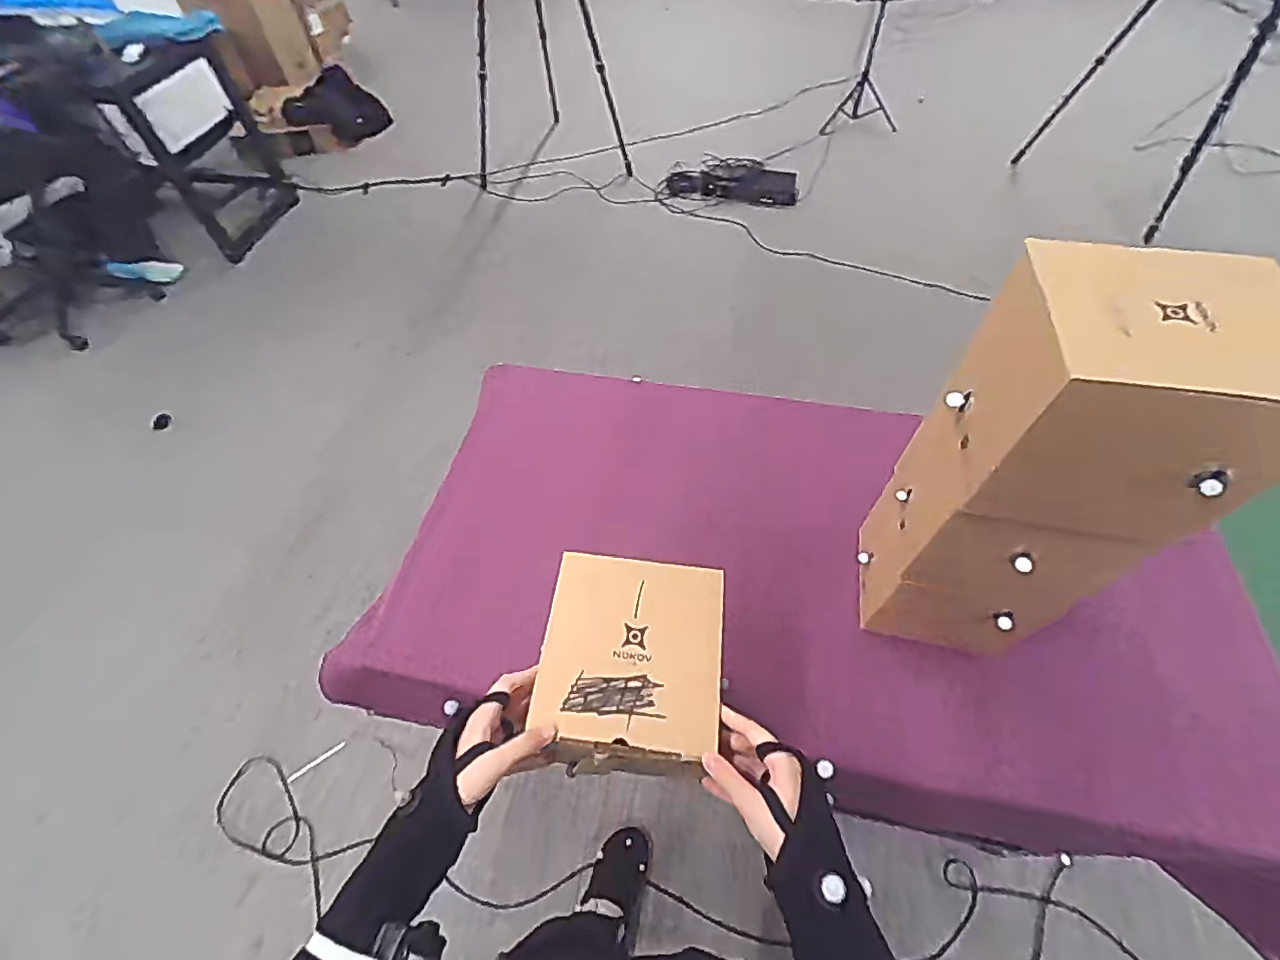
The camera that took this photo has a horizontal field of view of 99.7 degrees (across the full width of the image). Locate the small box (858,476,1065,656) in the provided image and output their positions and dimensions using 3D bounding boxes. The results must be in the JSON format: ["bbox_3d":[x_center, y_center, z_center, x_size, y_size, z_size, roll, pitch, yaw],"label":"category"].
[{"bbox_3d":[0.406,0.120,0.719,0.179,0.176,0.168,9,55,9],"label":"small box"}]

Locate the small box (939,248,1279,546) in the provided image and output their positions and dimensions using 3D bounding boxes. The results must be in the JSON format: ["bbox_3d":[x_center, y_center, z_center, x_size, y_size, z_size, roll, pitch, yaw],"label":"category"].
[{"bbox_3d":[0.379,-0.063,0.447,0.179,0.176,0.168,9,55,9],"label":"small box"}]

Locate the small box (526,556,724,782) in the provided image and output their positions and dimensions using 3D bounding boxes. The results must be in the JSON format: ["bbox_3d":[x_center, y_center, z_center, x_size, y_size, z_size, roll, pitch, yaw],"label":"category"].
[{"bbox_3d":[-0.008,0.203,0.565,0.168,0.176,0.179,7,54,2],"label":"small box"}]
